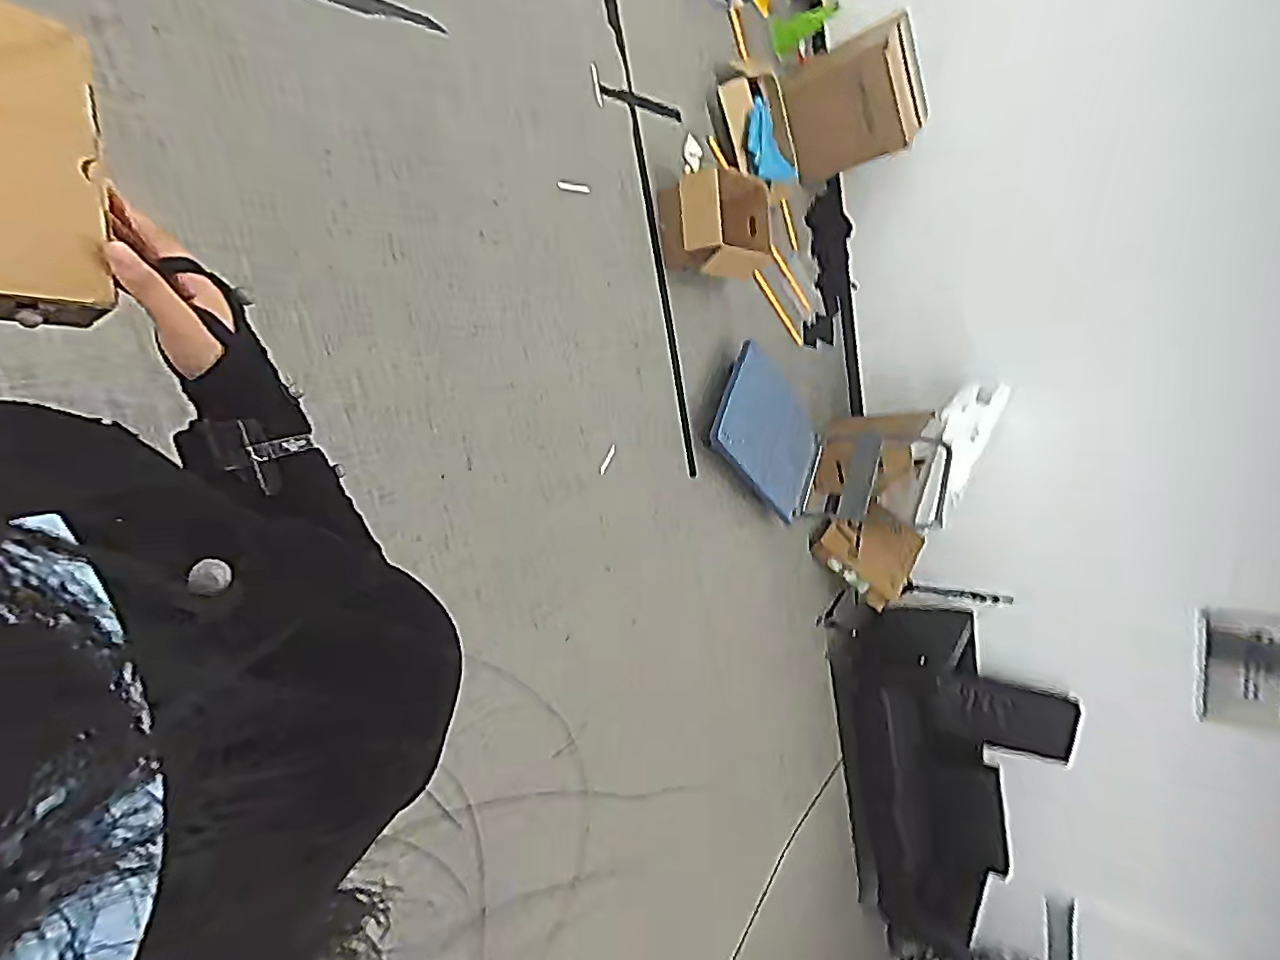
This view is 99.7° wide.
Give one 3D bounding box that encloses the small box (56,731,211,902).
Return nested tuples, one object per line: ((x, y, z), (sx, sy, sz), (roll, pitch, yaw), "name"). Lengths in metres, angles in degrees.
((-0.892, 0.570, 0.953), (0.168, 0.176, 0.179), (-16, 104, -46), "small box")

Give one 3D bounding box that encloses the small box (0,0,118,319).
((-0.456, -0.195, 0.326), (0.179, 0.176, 0.168), (-10, 104, -51), "small box")
